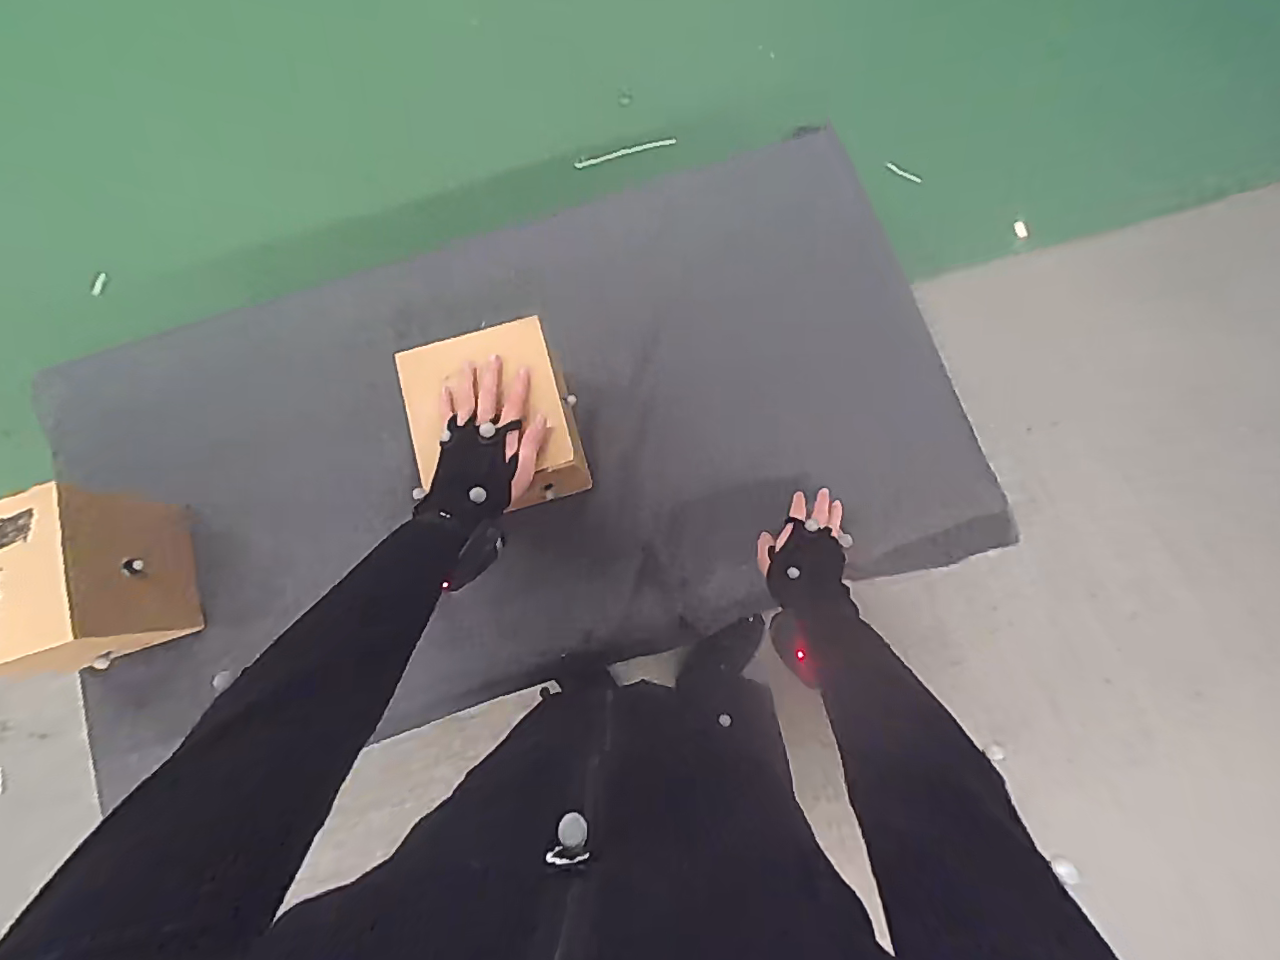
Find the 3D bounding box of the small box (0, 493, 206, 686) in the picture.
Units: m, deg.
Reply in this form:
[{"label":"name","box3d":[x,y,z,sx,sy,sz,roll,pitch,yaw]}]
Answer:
[{"label":"small box","box3d":[-0.666,0.132,0.640,0.168,0.176,0.179,-18,80,-2]}]

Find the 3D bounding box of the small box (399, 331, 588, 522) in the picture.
[{"label":"small box","box3d":[-0.168,-0.051,0.670,0.168,0.176,0.179,-16,79,-3]}]
